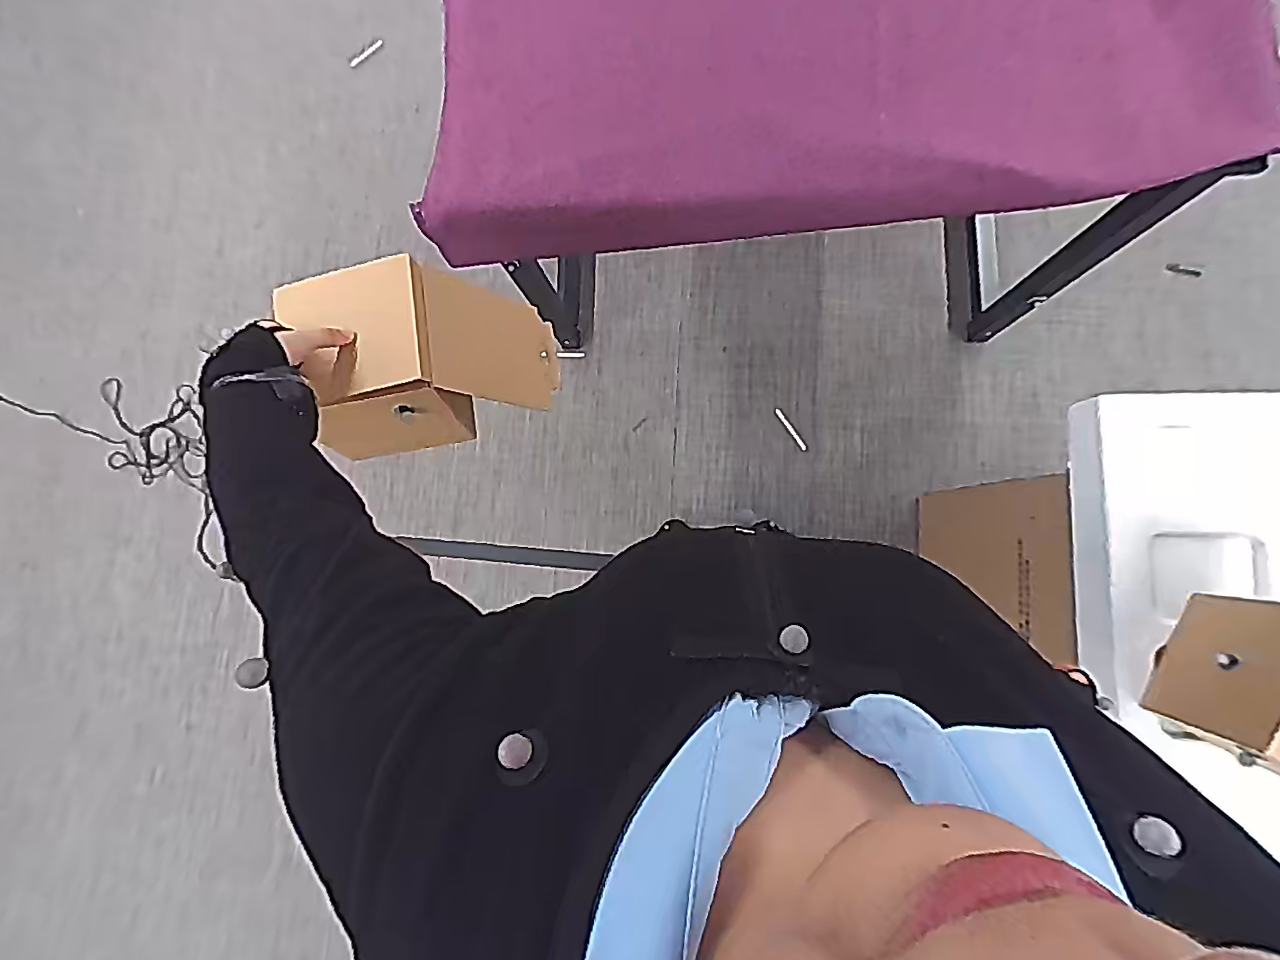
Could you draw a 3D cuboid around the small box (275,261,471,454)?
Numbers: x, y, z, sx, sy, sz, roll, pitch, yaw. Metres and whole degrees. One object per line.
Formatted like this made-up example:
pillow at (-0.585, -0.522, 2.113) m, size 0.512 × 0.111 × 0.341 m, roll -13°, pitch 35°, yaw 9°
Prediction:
small box at (-0.325, -0.145, 0.690) m, size 0.179 × 0.176 × 0.168 m, roll -11°, pitch 74°, yaw -2°
